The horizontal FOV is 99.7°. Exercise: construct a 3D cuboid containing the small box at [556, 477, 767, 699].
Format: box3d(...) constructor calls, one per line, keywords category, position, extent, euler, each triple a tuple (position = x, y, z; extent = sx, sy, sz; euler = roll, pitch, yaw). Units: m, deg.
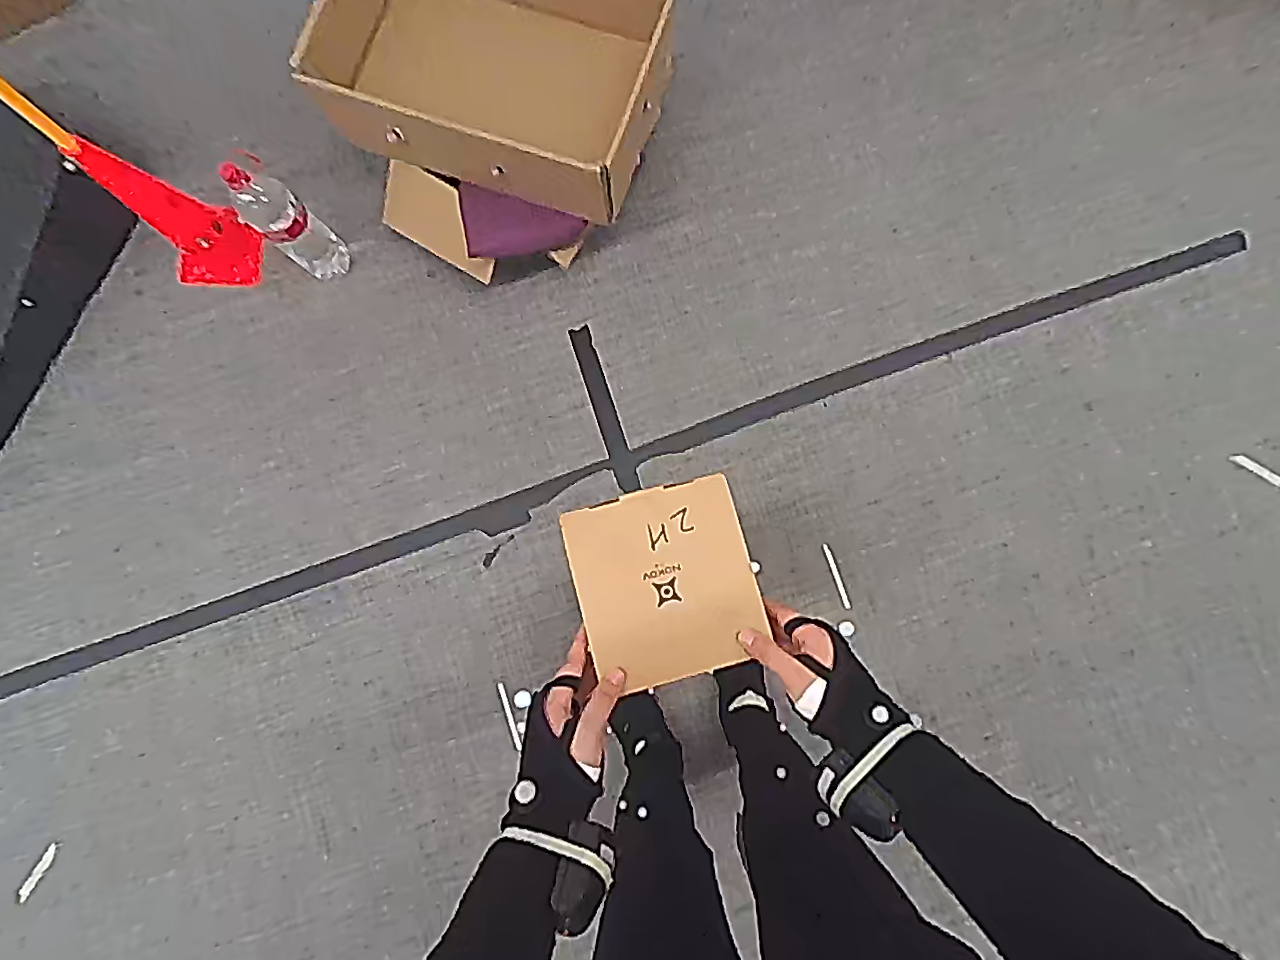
box3d(category="small box", position=(0.019, 0.110, 0.585), extent=(0.168, 0.176, 0.179), euler=(-15, 81, -3))
